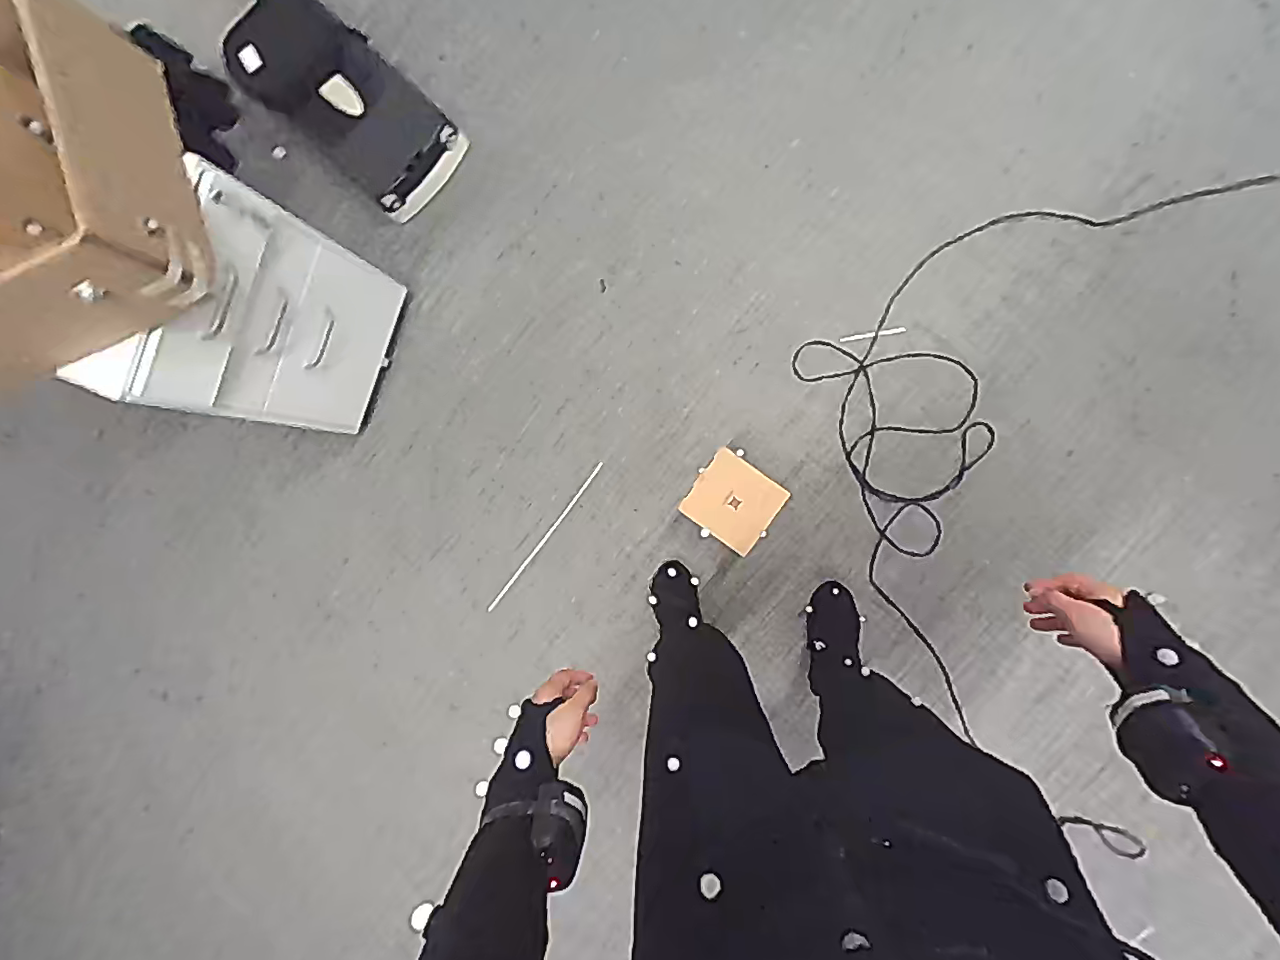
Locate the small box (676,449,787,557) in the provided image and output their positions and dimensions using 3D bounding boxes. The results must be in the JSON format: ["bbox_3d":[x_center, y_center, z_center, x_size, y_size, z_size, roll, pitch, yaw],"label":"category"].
[{"bbox_3d":[0.204,0.047,1.208,0.179,0.176,0.168,36,95,9],"label":"small box"}]
